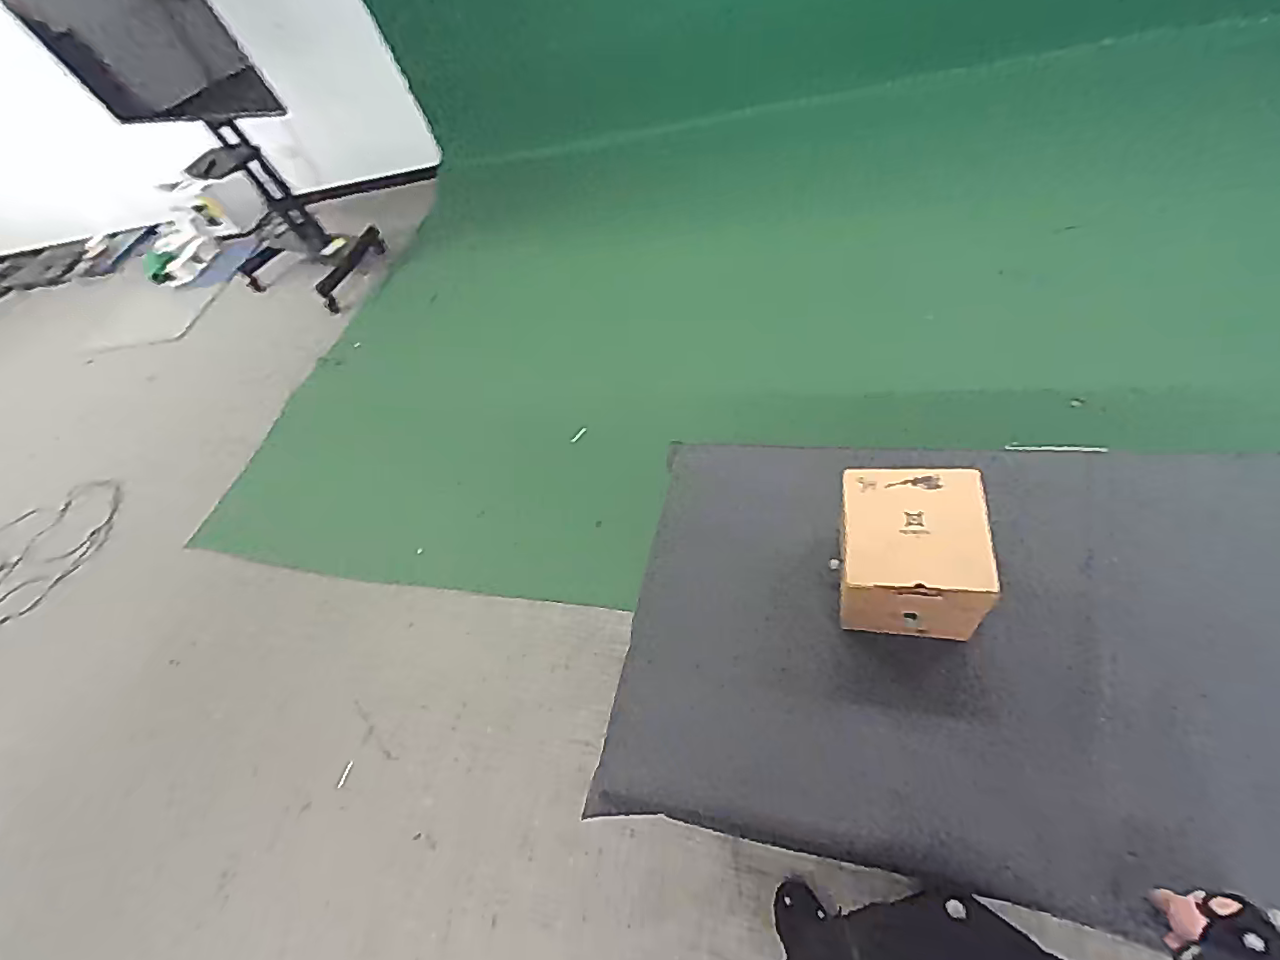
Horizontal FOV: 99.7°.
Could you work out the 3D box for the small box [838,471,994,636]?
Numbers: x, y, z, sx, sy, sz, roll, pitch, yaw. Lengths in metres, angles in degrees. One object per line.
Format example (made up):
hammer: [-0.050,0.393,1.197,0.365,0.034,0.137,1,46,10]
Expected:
small box: [0.369,0.108,0.754,0.168,0.176,0.179,-3,55,18]
